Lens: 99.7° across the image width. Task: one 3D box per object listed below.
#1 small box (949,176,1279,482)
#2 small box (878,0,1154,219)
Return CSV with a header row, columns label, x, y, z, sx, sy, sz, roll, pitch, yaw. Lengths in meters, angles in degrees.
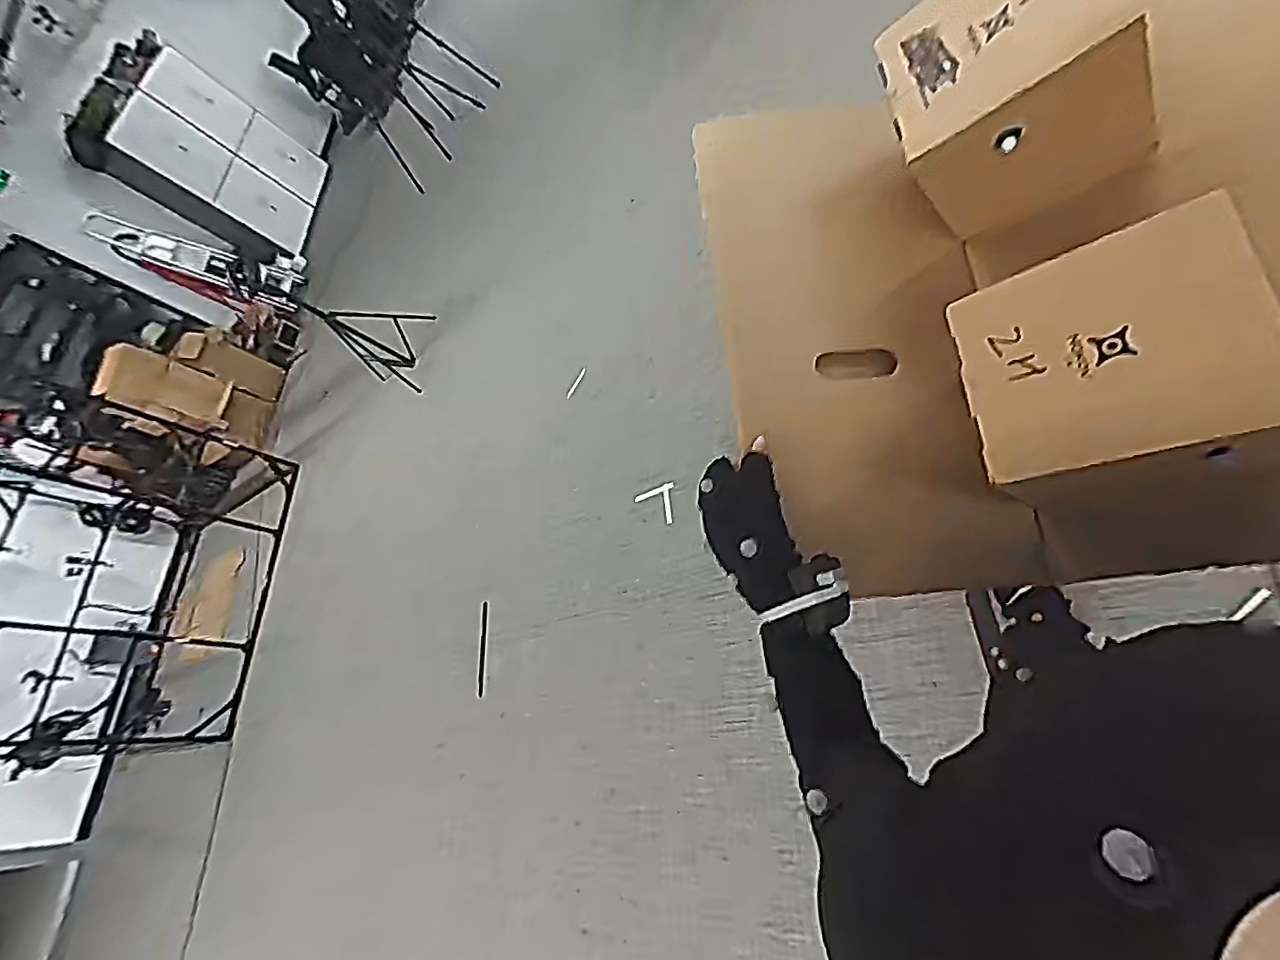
label,x,y,z,sx,sy,sz,roll,pitch,yaw
small box,0.397,-0.102,0.458,0.179,0.176,0.168,-18,69,44
small box,0.373,-0.406,0.545,0.179,0.176,0.168,-20,68,43
